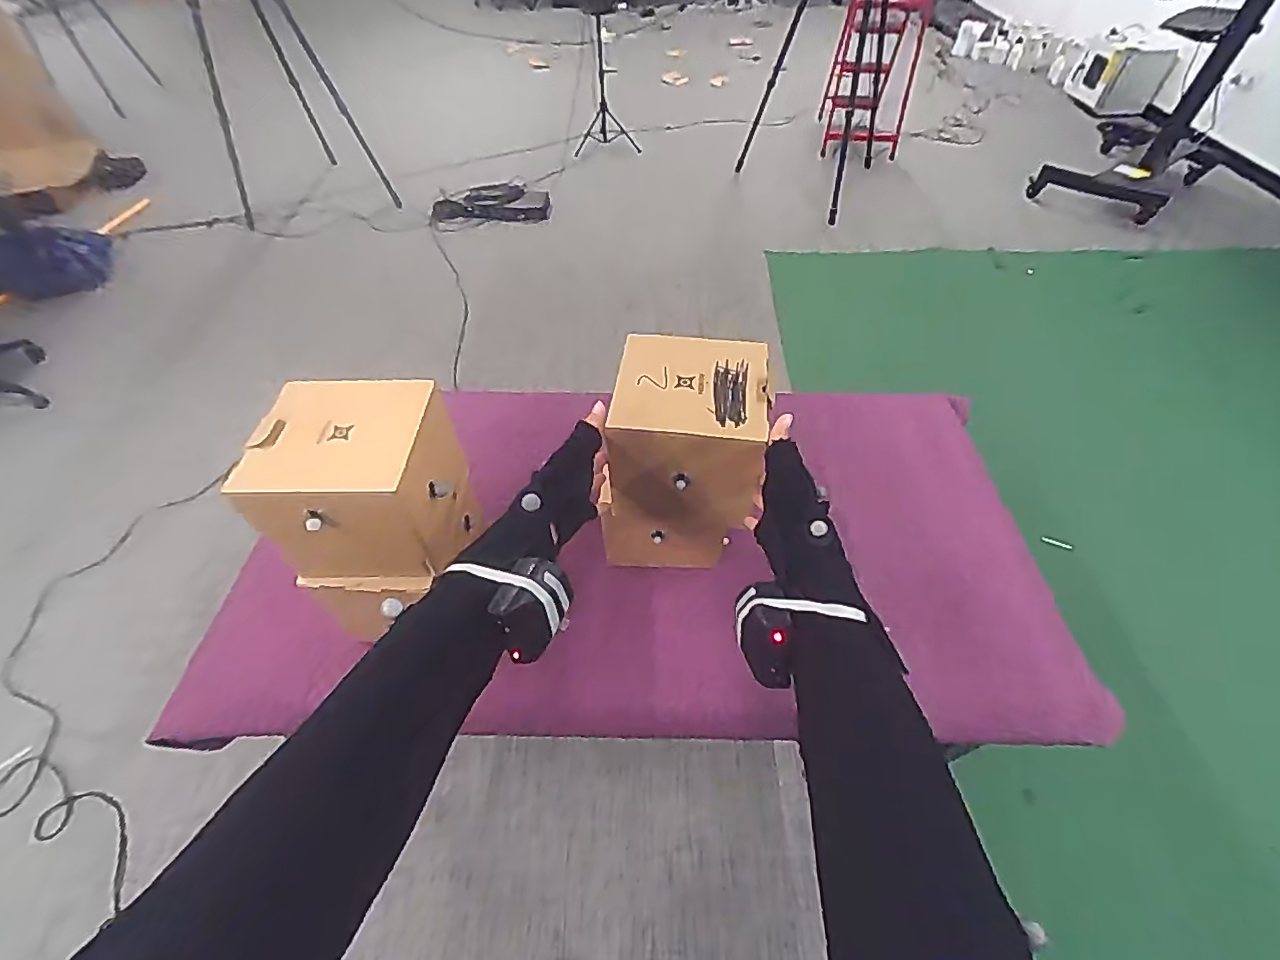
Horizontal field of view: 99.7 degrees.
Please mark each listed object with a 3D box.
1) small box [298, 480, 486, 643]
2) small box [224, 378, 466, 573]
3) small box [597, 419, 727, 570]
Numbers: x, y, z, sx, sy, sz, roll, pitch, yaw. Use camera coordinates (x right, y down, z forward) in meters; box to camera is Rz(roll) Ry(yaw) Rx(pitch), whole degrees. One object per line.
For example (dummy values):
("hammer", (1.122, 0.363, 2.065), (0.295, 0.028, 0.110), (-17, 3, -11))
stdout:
("small box", (-0.327, 0.109, 0.759), (0.168, 0.176, 0.179), (3, 52, 2))
("small box", (-0.320, -0.001, 0.639), (0.179, 0.176, 0.168), (1, 51, 0))
("small box", (0.032, 0.027, 0.831), (0.179, 0.176, 0.168), (2, 52, 2))
